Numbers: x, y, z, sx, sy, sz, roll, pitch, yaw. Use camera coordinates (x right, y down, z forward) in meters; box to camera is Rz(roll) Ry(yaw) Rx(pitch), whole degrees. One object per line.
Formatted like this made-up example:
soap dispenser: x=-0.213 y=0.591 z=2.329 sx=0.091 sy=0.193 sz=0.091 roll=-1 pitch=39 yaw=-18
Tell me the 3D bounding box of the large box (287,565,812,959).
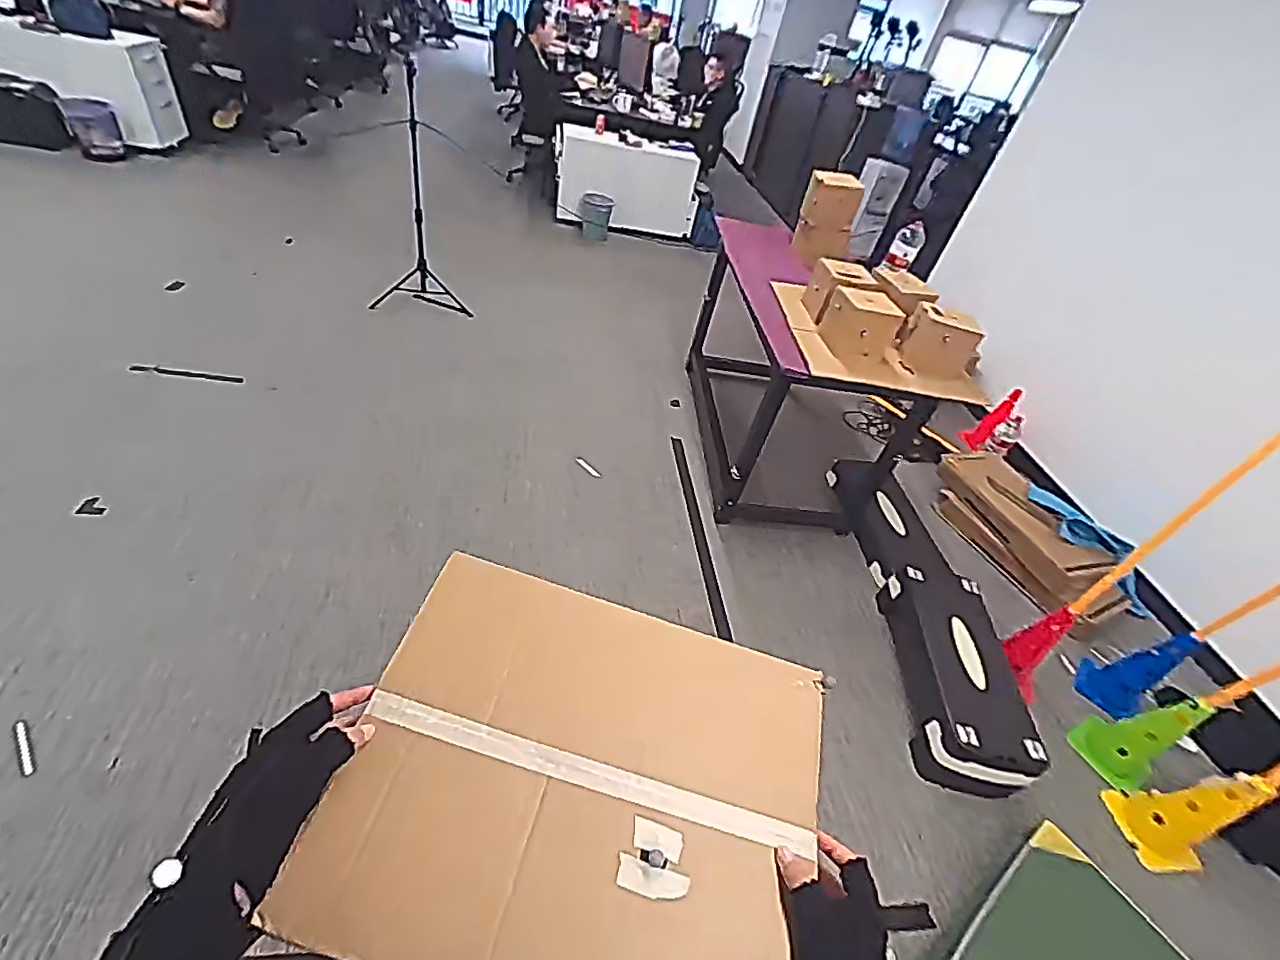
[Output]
large box: x=-0.069 y=0.349 z=0.606 sx=0.408 sy=0.320 sz=0.320 roll=19 pitch=53 yaw=0
